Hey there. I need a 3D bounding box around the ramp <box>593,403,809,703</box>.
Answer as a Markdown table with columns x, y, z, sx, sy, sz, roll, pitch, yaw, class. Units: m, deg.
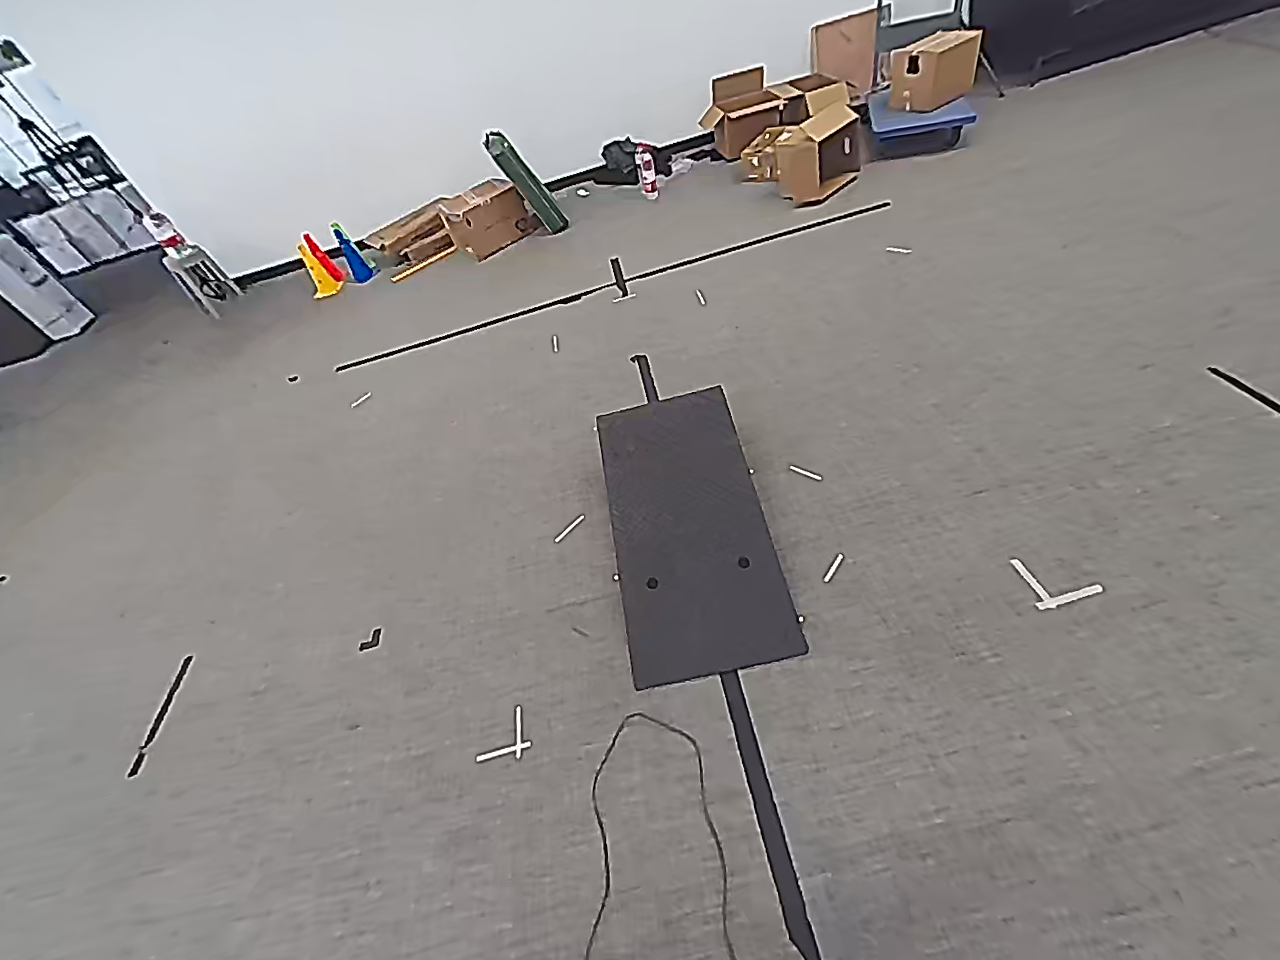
| x | y | z | sx | sy | sz | roll | pitch | yaw | class |
| --- | --- | --- | --- | --- | --- | --- | --- | --- | --- |
| 0.147 | 0.168 | 1.777 | 0.509 | 0.206 | 0.991 | -16 | 45 | 2 | ramp |
